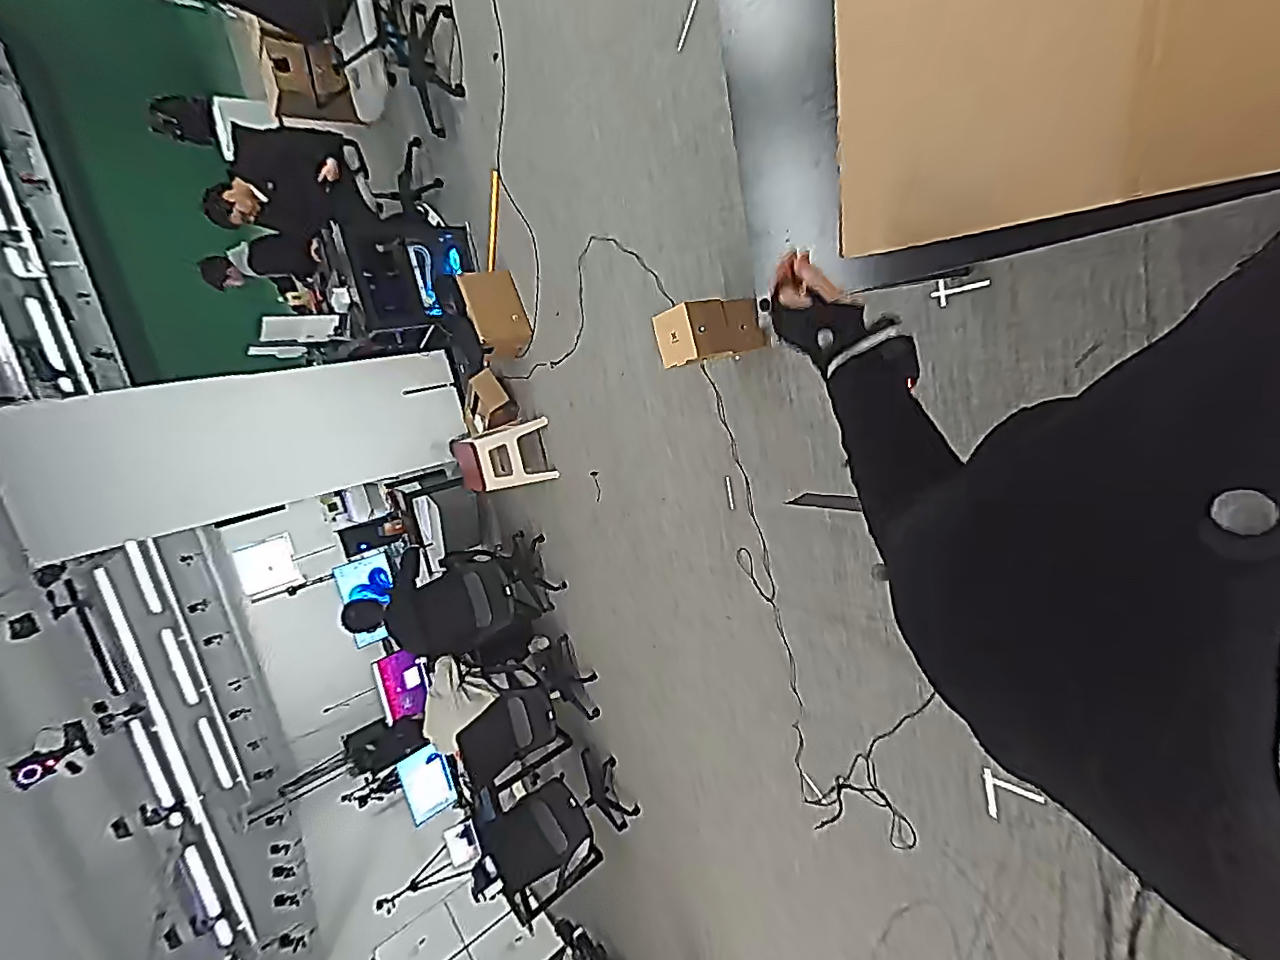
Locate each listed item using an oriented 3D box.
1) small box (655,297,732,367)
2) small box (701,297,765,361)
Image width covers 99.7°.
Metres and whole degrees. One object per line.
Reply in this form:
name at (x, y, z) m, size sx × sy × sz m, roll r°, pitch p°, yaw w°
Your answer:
small box at (0.179, -0.485, 1.769) m, size 0.168 × 0.176 × 0.179 m, roll -6°, pitch 100°, yaw 54°
small box at (0.307, -0.523, 1.863) m, size 0.168 × 0.176 × 0.179 m, roll -2°, pitch 105°, yaw 54°
